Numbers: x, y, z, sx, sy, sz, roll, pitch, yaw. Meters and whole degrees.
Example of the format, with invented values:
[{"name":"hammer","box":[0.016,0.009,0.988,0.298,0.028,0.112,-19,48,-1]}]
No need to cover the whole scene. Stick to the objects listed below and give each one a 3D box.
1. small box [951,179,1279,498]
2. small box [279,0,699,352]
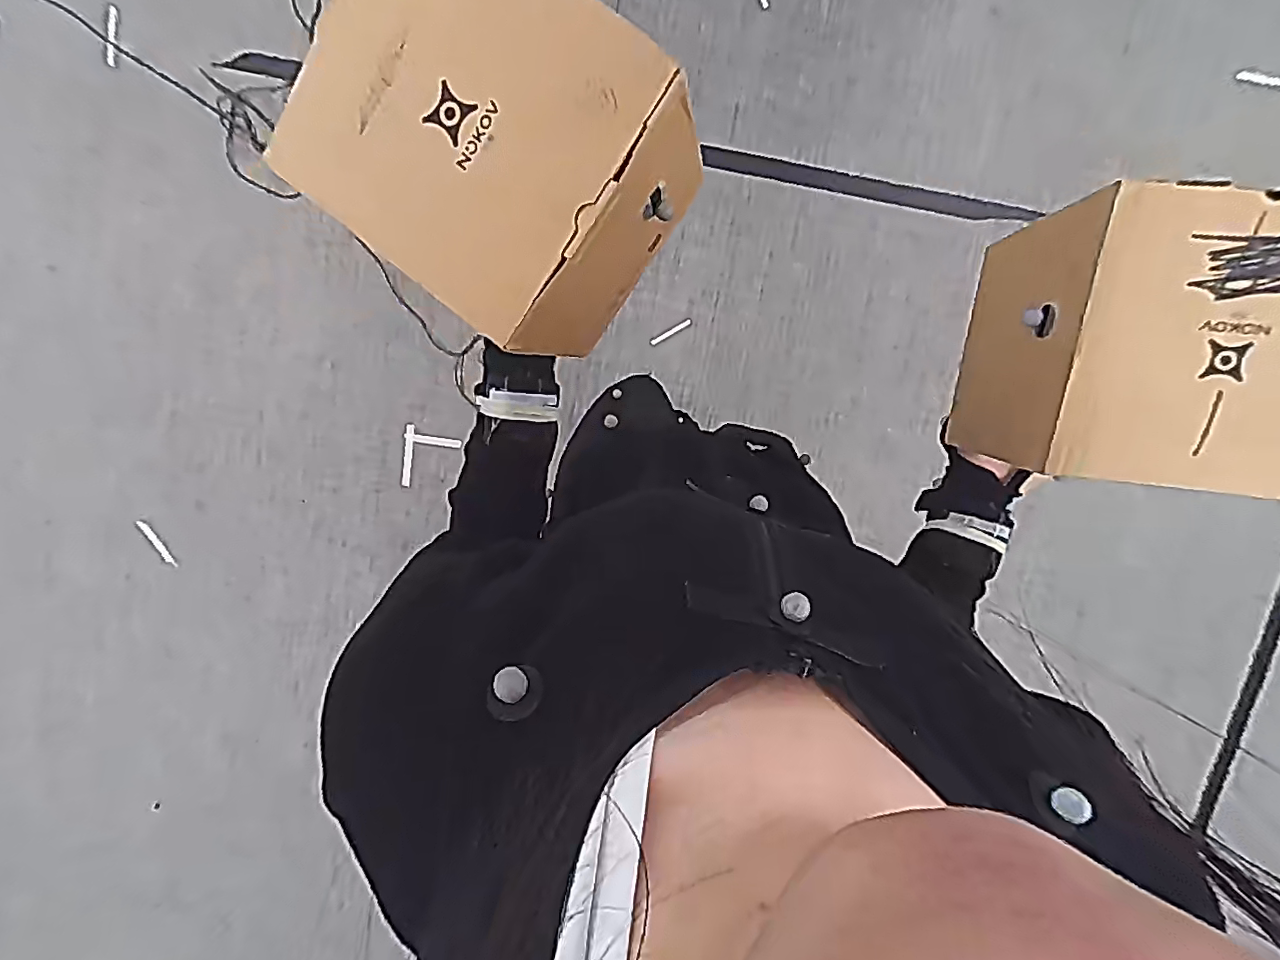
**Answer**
[{"name":"small box","box":[0.359,-0.095,0.399,0.168,0.176,0.179,8,102,8]},{"name":"small box","box":[-0.075,-0.203,0.360,0.179,0.176,0.168,38,104,2]}]
